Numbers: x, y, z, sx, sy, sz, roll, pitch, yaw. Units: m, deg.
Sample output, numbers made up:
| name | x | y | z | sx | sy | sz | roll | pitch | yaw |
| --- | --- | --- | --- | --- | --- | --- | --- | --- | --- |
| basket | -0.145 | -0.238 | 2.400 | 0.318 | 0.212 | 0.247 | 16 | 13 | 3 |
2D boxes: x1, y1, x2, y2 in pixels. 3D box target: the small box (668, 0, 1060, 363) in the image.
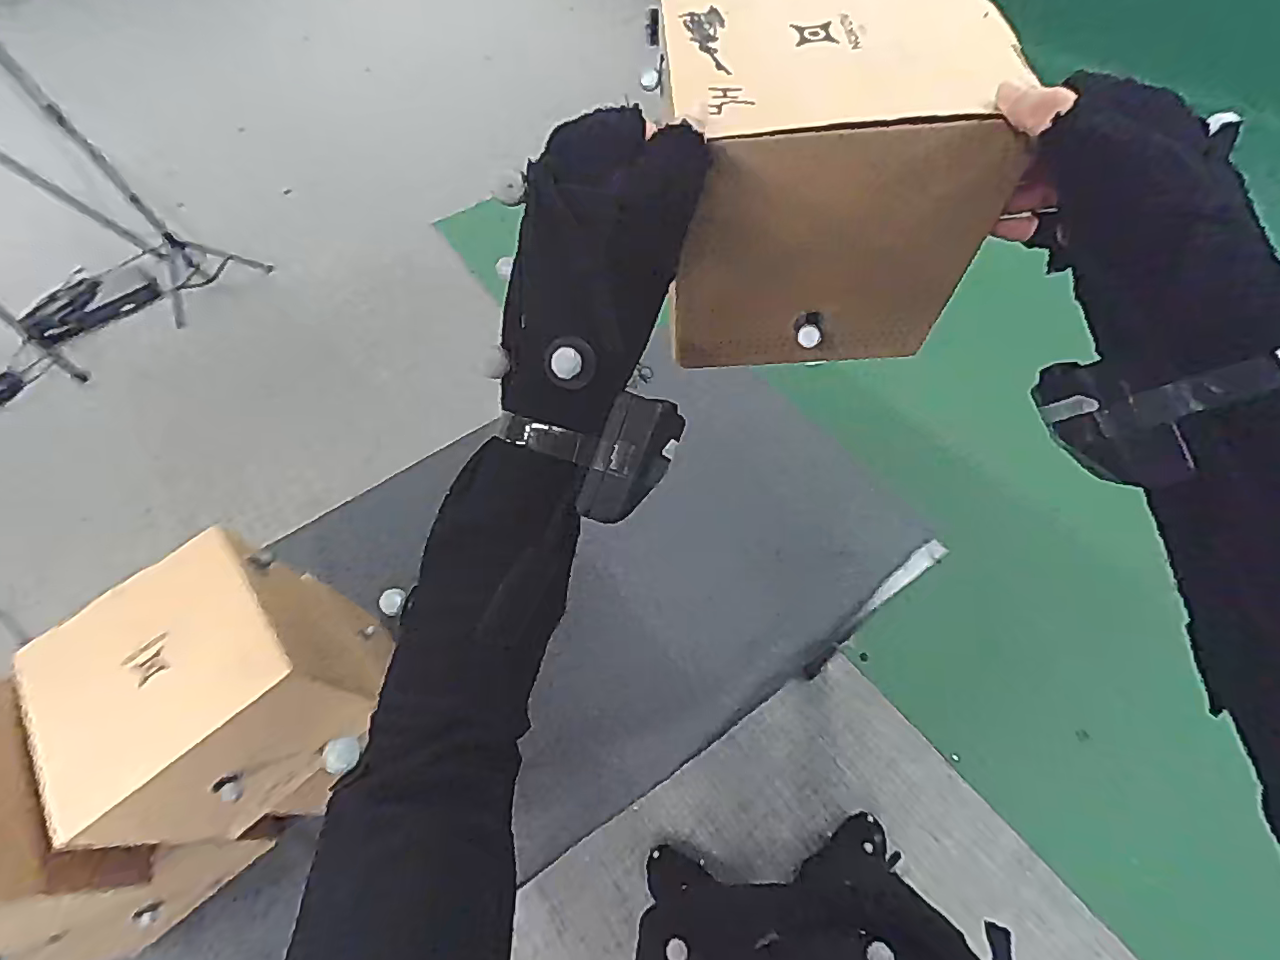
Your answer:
| name | x | y | z | sx | sy | sz | roll | pitch | yaw |
| --- | --- | --- | --- | --- | --- | --- | --- | --- | --- |
| small box | 0.110 | -0.194 | 0.356 | 0.179 | 0.176 | 0.168 | -2 | 62 | 2 |

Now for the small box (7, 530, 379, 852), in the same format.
| name | x | y | z | sx | sy | sz | roll | pitch | yaw |
| --- | --- | --- | --- | --- | --- | --- | --- | --- | --- |
| small box | -0.370 | 0.183 | 0.477 | 0.168 | 0.176 | 0.179 | -39 | 62 | -19 |

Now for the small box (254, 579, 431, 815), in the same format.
| name | x | y | z | sx | sy | sz | roll | pitch | yaw |
| --- | --- | --- | --- | --- | --- | --- | --- | --- | --- |
| small box | -0.378 | 0.253 | 0.626 | 0.179 | 0.176 | 0.168 | 38 | 67 | 25 |
